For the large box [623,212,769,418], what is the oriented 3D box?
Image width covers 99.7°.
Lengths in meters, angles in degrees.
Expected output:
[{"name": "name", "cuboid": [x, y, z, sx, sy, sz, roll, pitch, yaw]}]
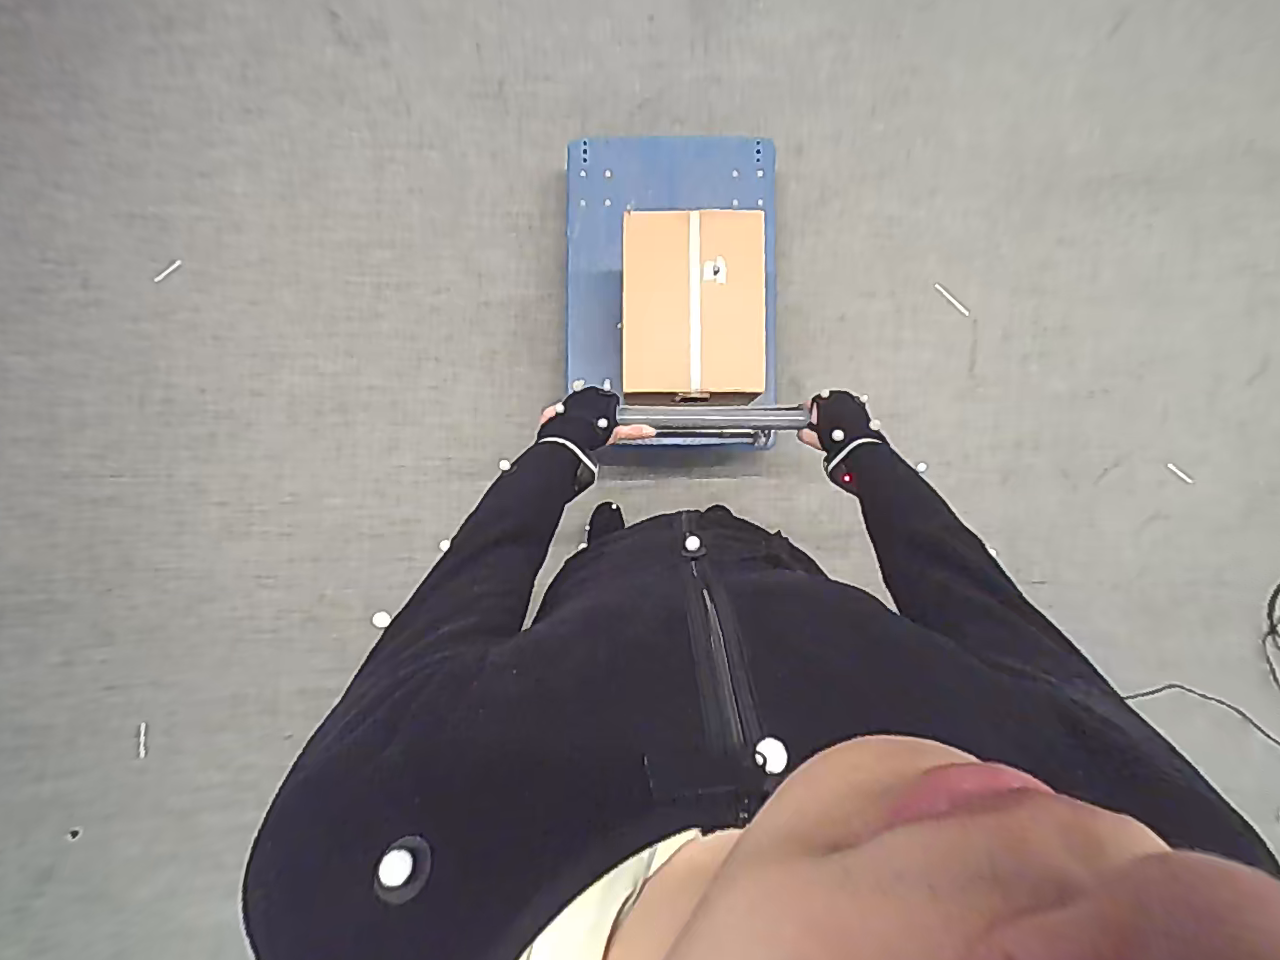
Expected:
[{"name": "large box", "cuboid": [0.121, -0.374, 1.315, 0.320, 0.320, 0.408, 0, 87, -1]}]
